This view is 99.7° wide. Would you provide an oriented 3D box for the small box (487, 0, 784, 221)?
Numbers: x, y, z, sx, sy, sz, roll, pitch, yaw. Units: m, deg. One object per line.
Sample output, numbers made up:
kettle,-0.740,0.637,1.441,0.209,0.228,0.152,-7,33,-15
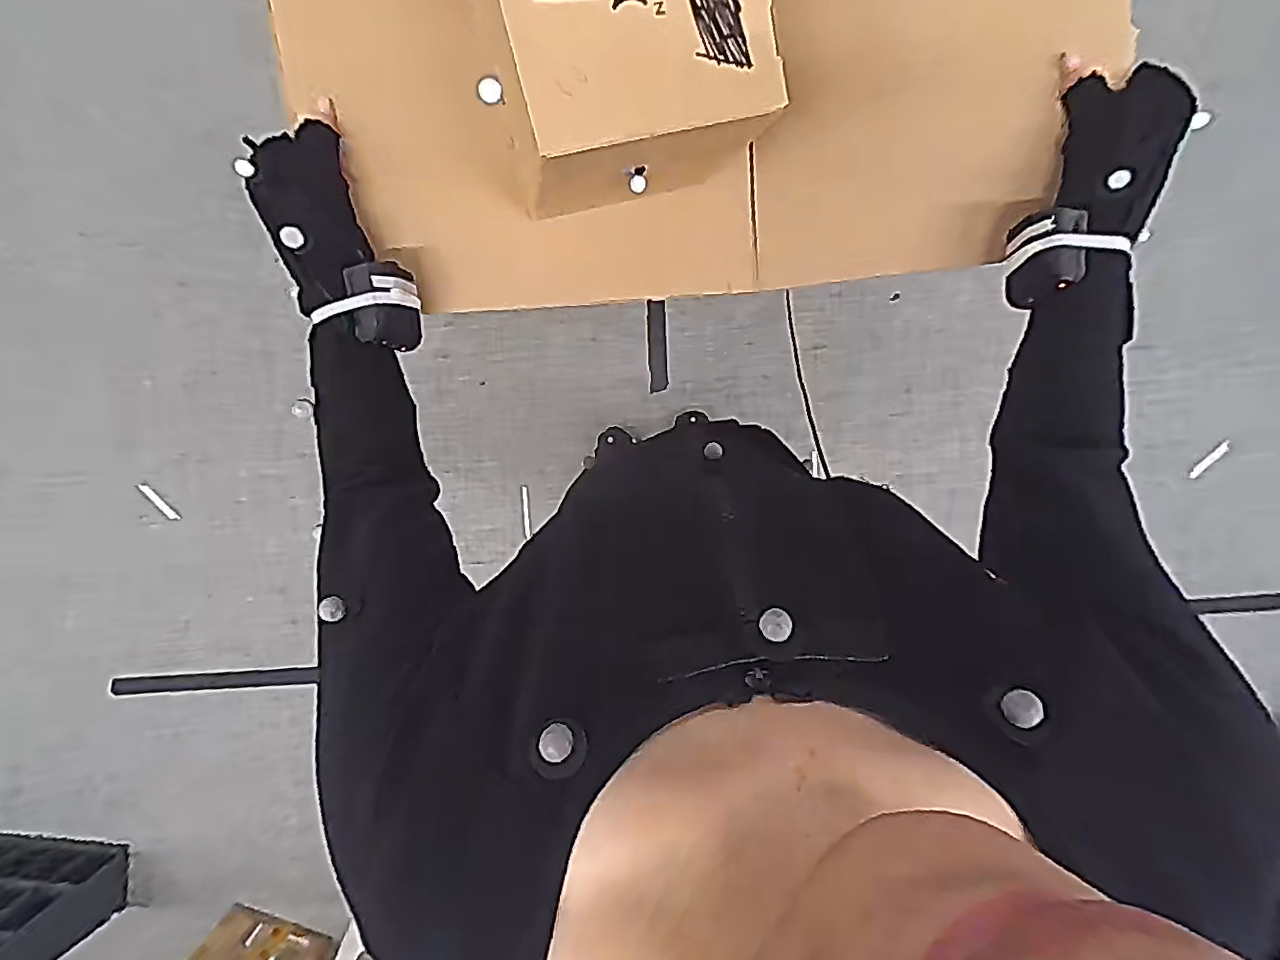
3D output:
small box,-0.015,-0.322,0.422,0.179,0.176,0.168,-16,105,-8
